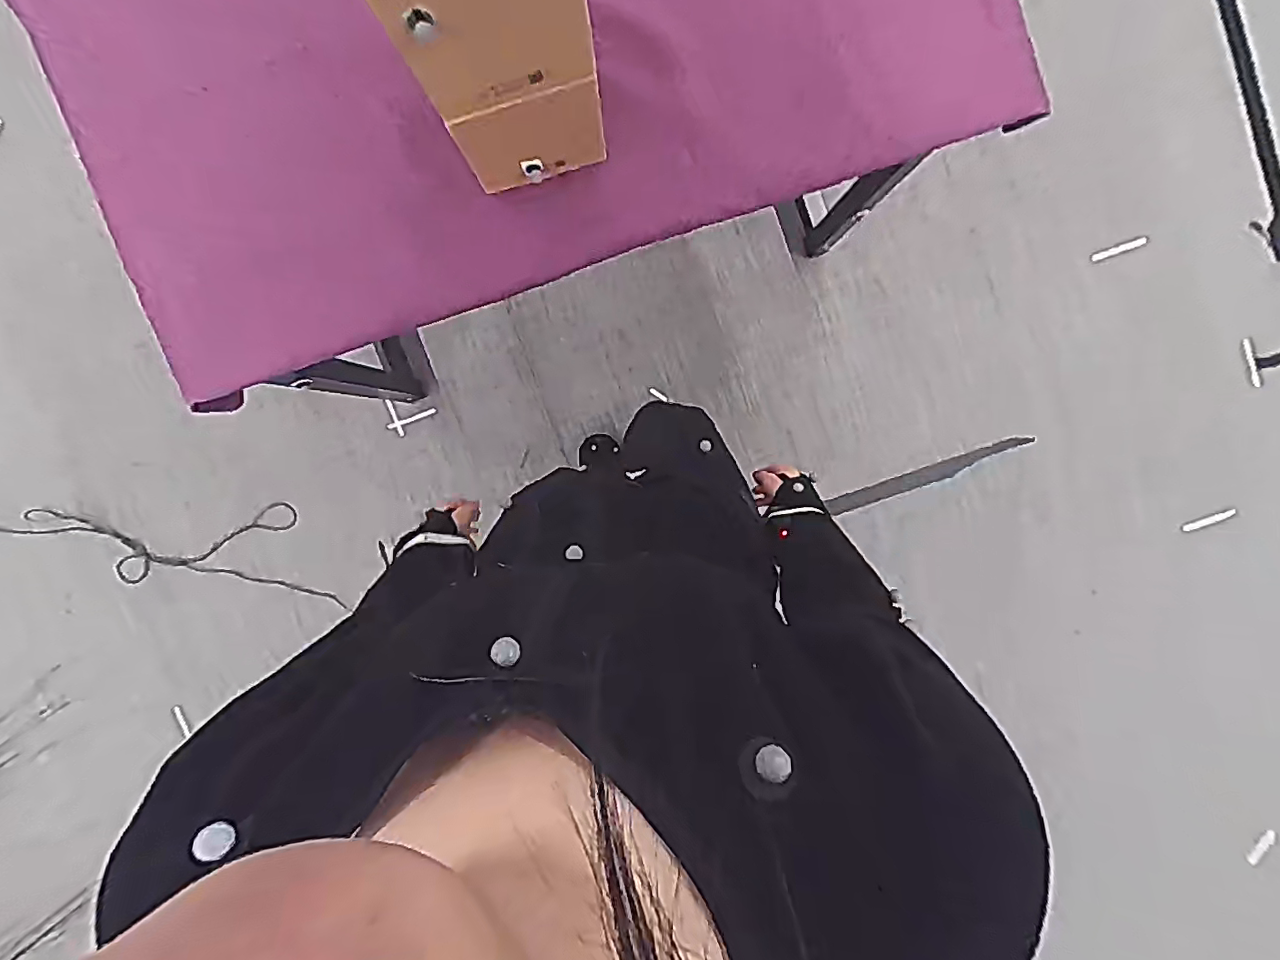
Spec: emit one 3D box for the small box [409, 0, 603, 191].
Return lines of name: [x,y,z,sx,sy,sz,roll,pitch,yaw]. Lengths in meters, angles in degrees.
small box: [-0.146,-0.475,0.623,0.168,0.176,0.179,-17,95,1]
